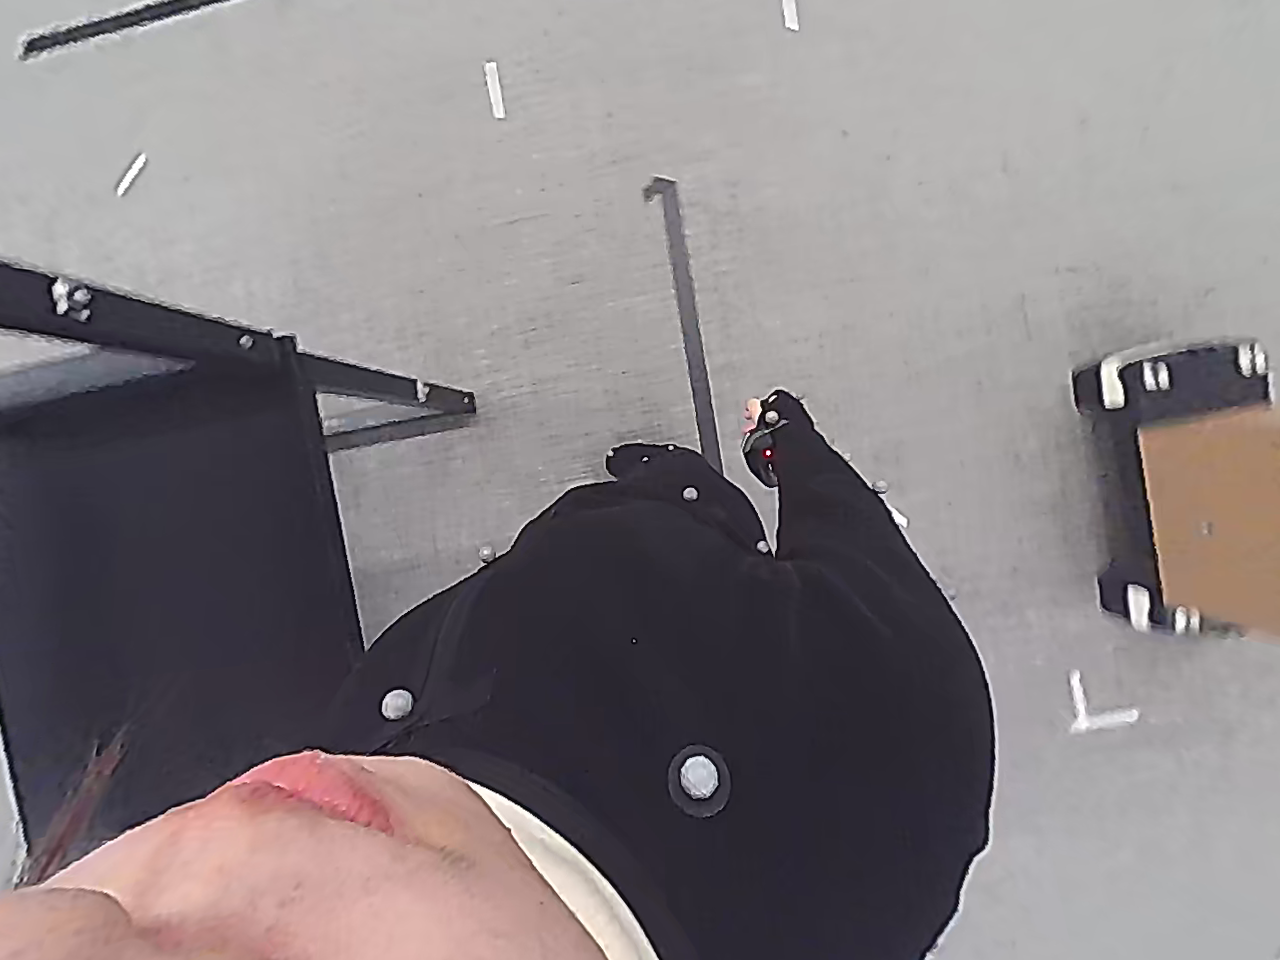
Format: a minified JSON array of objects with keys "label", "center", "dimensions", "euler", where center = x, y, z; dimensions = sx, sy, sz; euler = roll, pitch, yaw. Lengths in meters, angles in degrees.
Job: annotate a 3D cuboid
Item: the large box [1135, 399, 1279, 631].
[{"label":"large box","center":[1.289,0.051,1.062],"dimensions":[0.320,0.320,0.408],"euler":[-12,91,4]}]
